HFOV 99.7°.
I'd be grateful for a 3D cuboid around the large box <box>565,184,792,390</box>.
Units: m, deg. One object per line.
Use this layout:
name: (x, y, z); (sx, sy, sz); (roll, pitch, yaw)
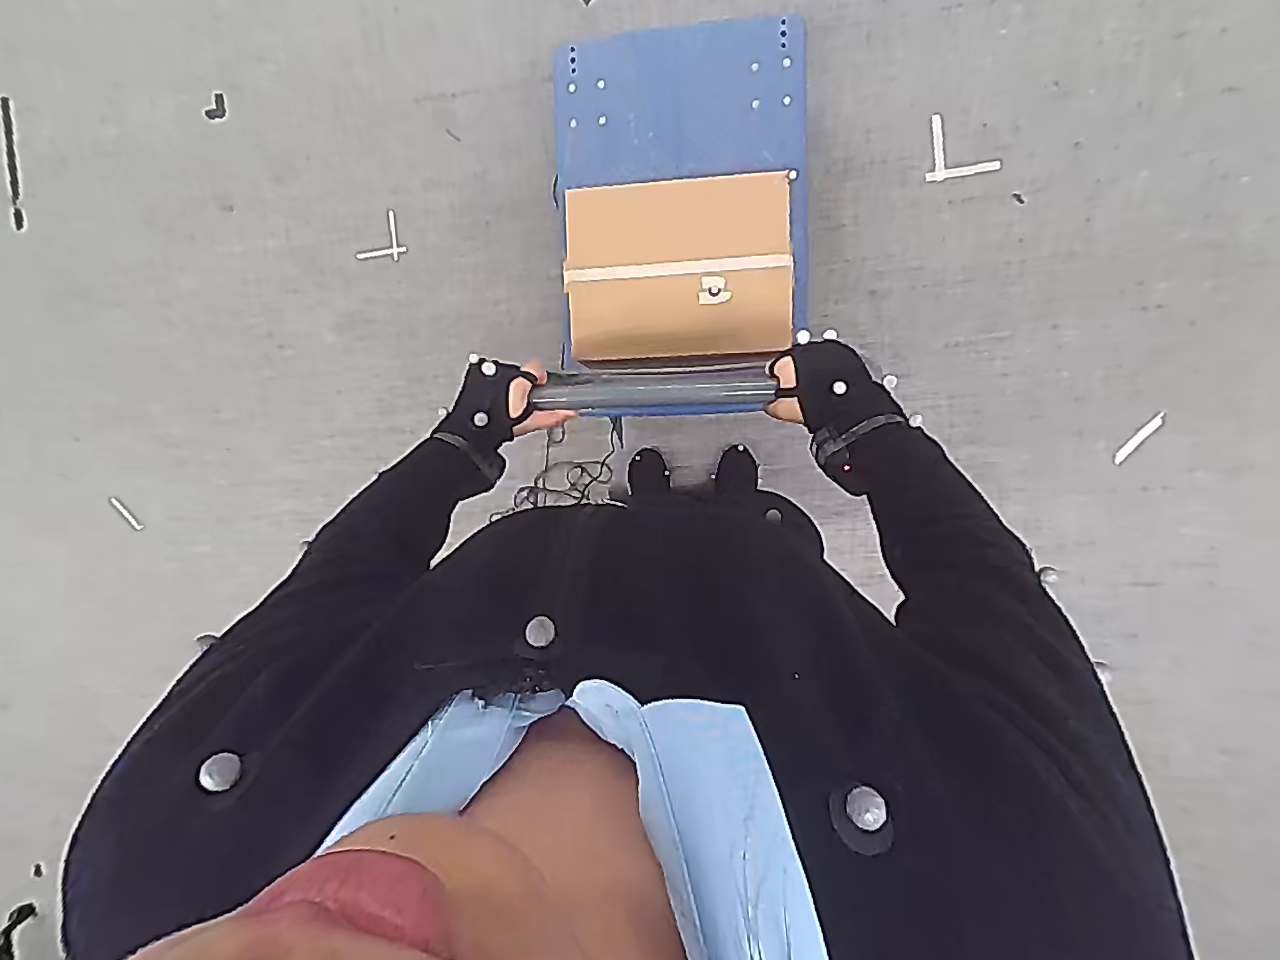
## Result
large box: (0.080, -0.366, 1.119); (0.408, 0.320, 0.320); (-2, 94, 6)
